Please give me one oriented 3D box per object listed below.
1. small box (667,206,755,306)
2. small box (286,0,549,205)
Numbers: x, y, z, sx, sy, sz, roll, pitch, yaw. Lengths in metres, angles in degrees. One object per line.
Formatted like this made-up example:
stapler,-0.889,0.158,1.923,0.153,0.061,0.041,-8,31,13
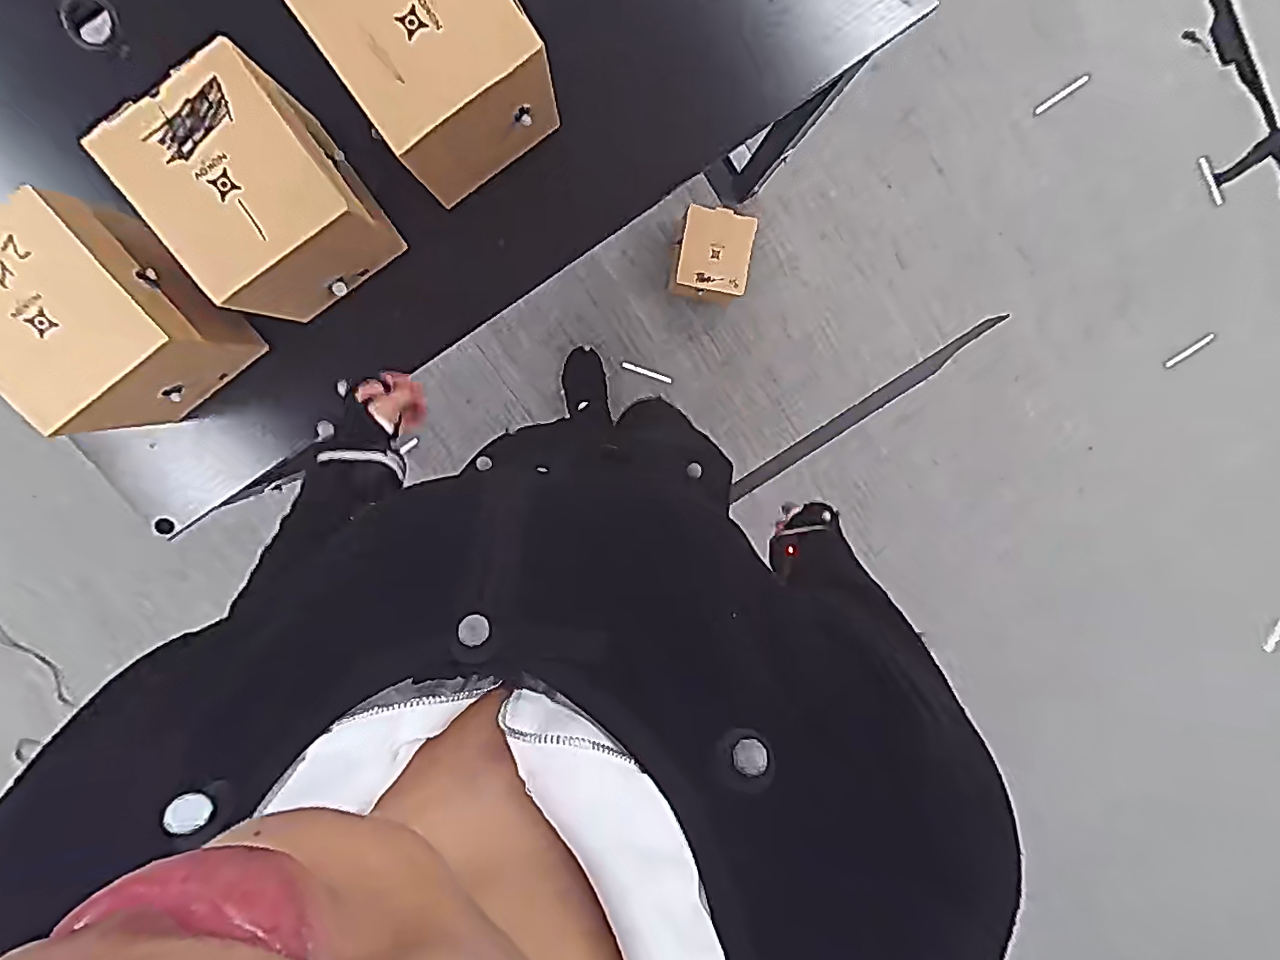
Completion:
small box,0.166,-0.539,1.323,0.168,0.176,0.179,9,100,-6
small box,-0.211,-0.433,0.574,0.179,0.176,0.168,-34,100,4
